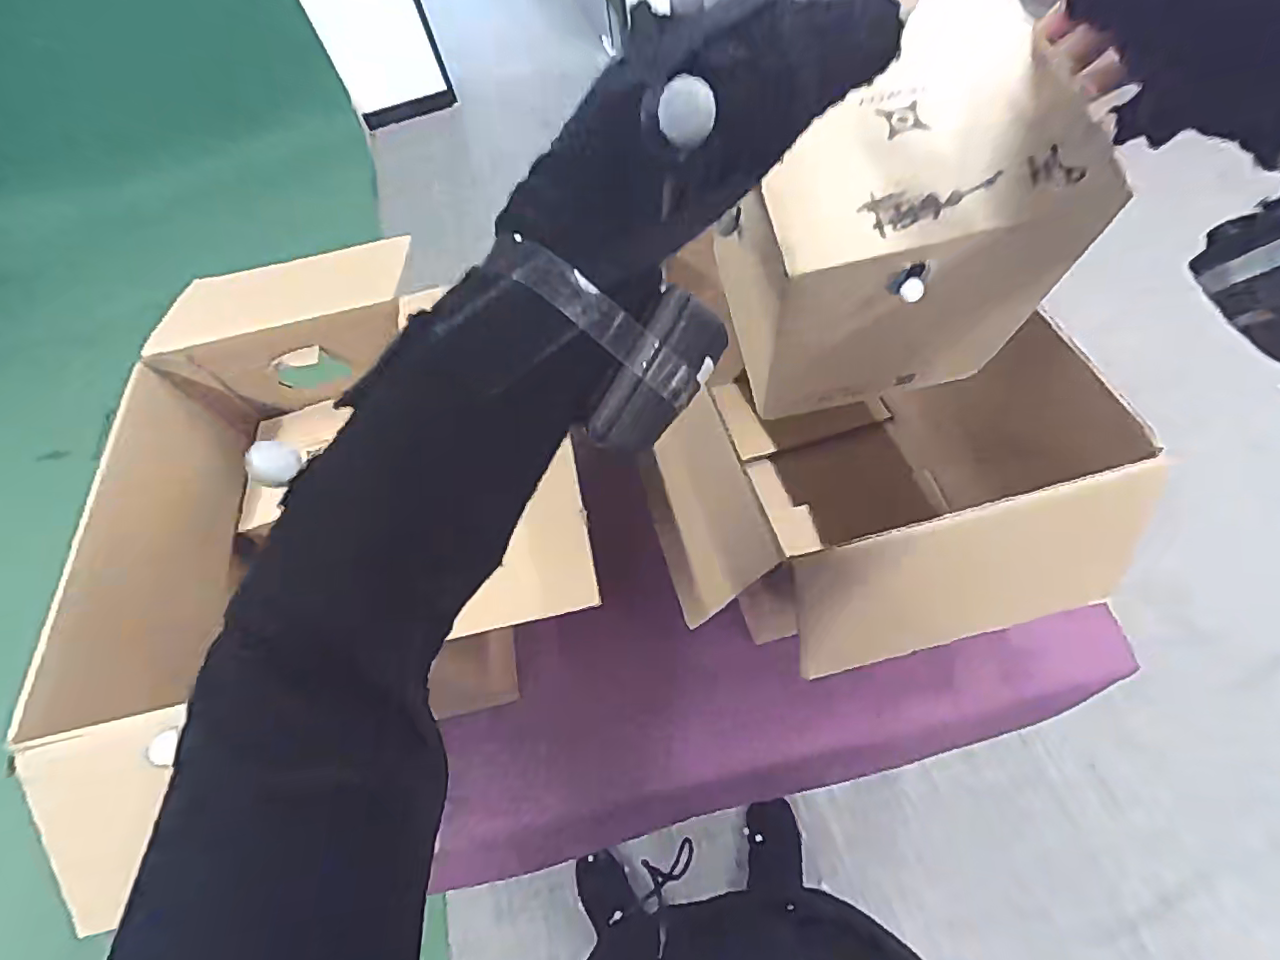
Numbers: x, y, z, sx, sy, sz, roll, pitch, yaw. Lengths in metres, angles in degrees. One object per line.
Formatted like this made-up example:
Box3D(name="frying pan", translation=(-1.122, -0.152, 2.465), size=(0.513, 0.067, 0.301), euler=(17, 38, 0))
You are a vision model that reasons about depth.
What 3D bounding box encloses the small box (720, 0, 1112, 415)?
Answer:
Box3D(name="small box", translation=(0.151, -0.170, 0.376), size=(0.168, 0.176, 0.179), euler=(-12, 69, 5))
